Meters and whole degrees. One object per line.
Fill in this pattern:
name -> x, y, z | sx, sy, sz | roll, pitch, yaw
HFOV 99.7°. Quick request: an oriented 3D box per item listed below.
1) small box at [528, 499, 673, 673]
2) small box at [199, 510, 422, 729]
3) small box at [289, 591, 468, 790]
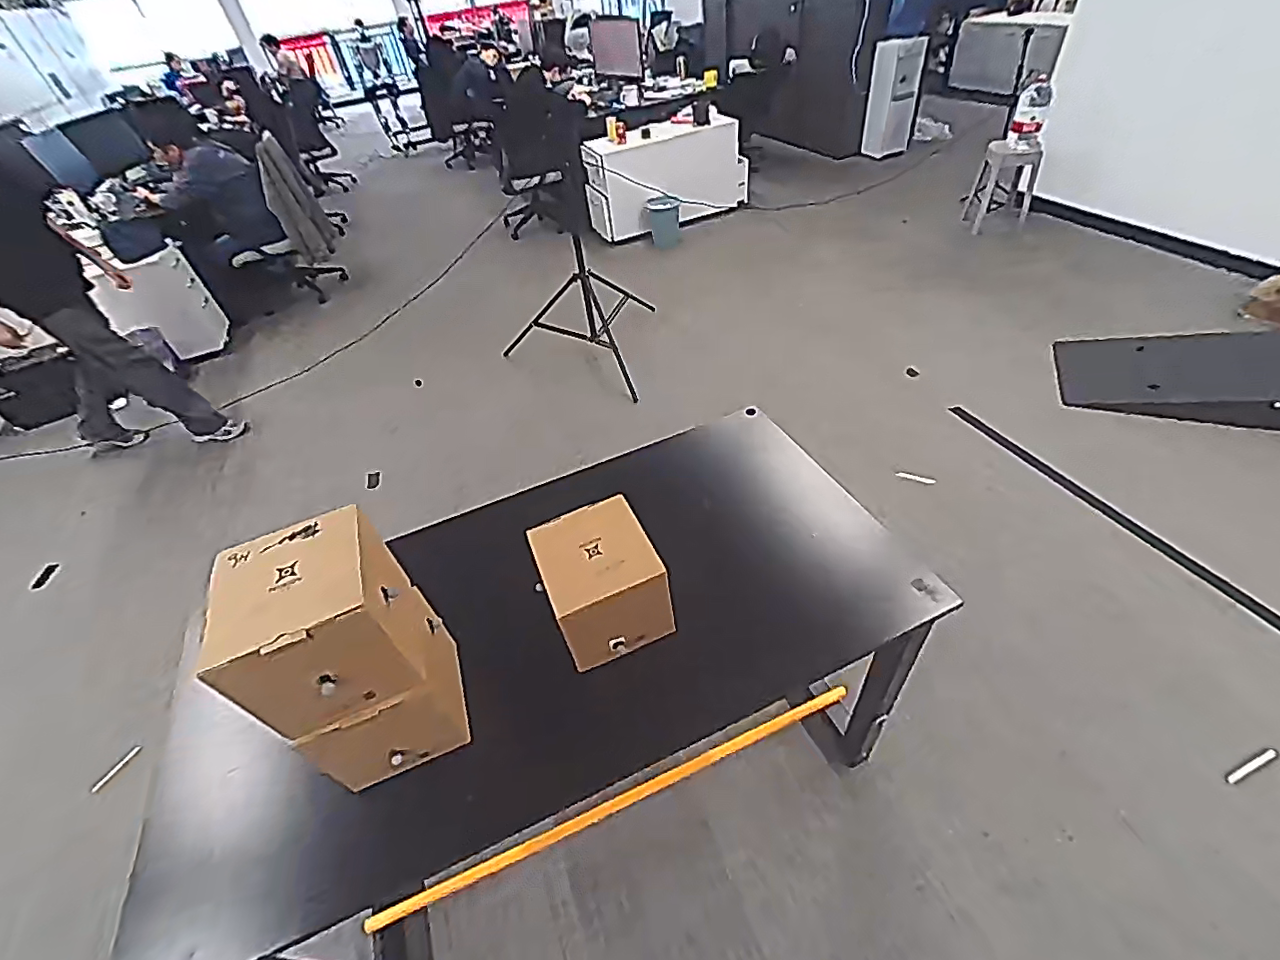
small box -> -0.059, 0.167, 0.853 | 0.168, 0.176, 0.179 | -22, 46, -12
small box -> -0.383, 0.174, 0.658 | 0.168, 0.176, 0.179 | -22, 45, -13
small box -> -0.359, 0.296, 0.765 | 0.168, 0.176, 0.179 | -20, 45, -11
